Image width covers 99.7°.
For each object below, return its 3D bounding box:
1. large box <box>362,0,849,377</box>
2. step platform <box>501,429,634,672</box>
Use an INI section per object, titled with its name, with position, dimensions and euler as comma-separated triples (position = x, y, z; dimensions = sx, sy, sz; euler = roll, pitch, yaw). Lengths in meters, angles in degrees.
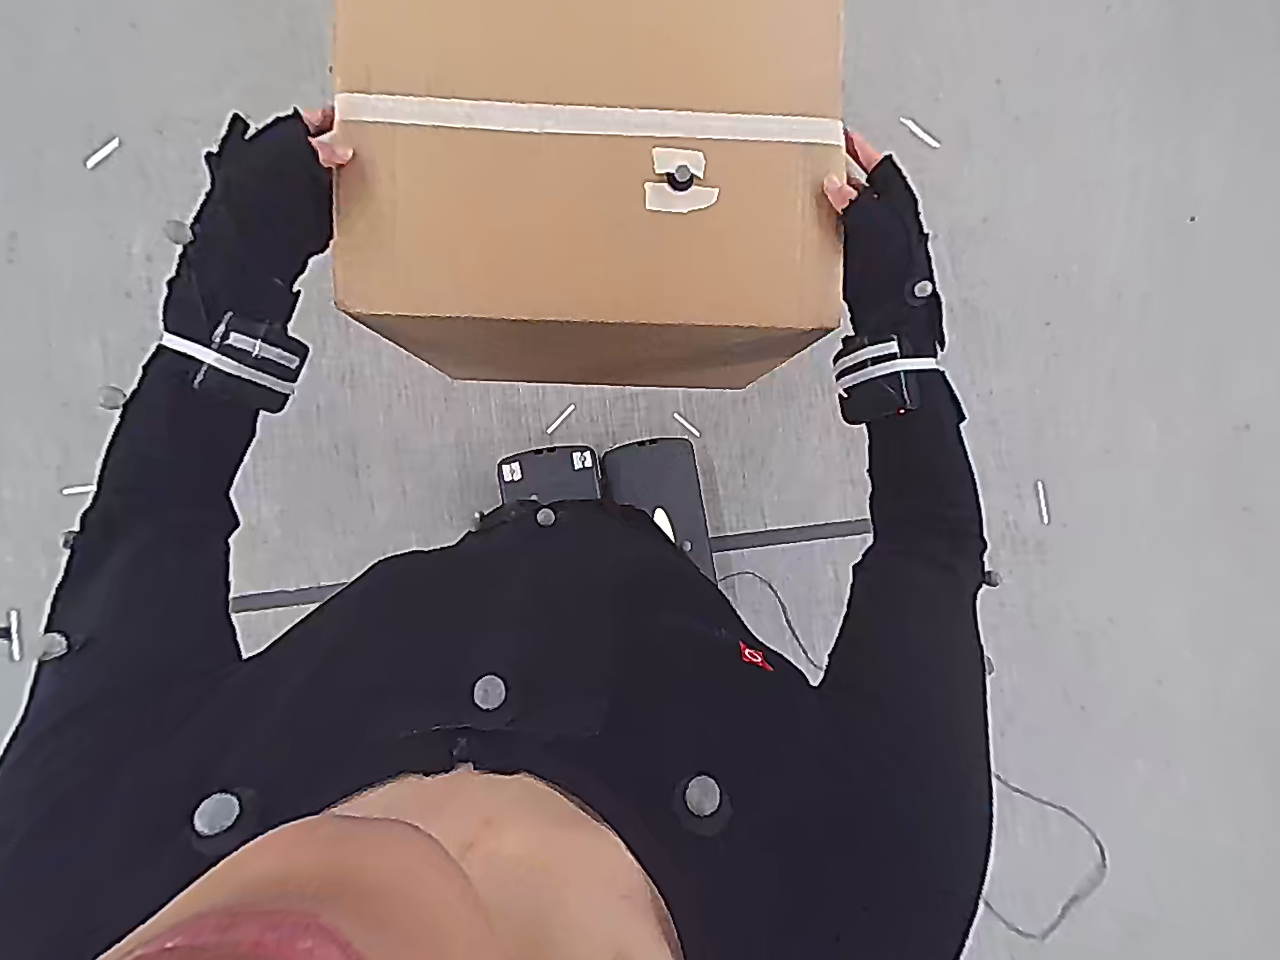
[large box]
position = -0.035, -0.295, 0.592
dimensions = 0.408, 0.320, 0.320
euler = 1, 91, -4
[step platform]
position = -0.210, 0.197, 1.570
dimensions = 0.286, 0.204, 0.684
euler = -10, 86, -5
